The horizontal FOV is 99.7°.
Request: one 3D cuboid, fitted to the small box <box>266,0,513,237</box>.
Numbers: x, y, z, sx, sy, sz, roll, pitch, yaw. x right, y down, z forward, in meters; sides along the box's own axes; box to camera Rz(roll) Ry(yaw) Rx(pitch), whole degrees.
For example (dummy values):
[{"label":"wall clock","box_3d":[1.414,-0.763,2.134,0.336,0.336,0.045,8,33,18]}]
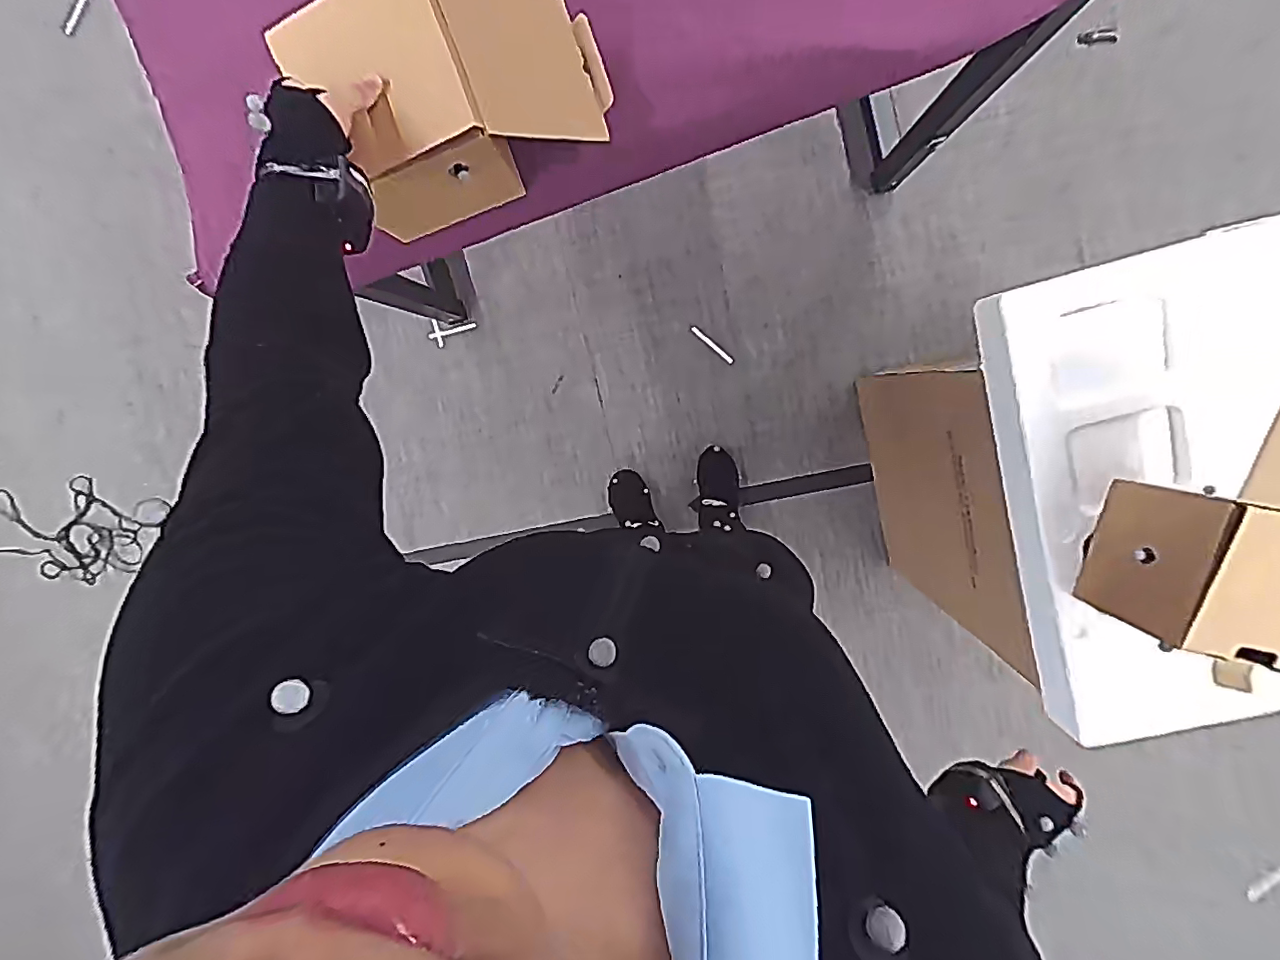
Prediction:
[{"label":"small box","box_3d":[-0.259,-0.404,0.615,0.179,0.176,0.168,-19,98,5]}]
